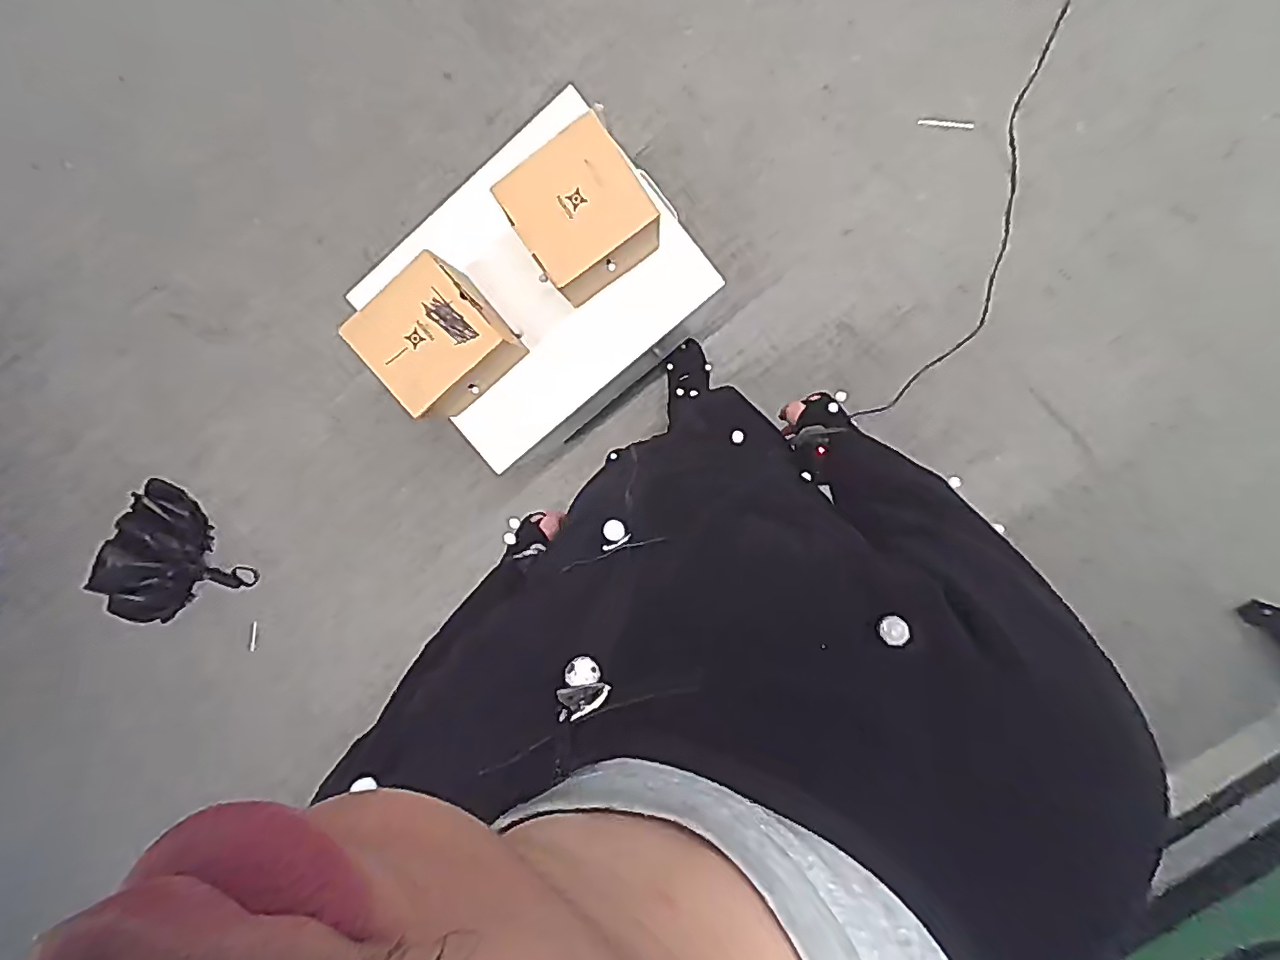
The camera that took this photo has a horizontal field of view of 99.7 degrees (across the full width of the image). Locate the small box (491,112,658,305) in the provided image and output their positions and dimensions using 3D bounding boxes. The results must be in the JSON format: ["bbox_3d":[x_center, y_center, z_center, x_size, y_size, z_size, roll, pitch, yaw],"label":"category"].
[{"bbox_3d":[-0.086,-0.387,0.811,0.179,0.176,0.168,-34,97,6],"label":"small box"}]
